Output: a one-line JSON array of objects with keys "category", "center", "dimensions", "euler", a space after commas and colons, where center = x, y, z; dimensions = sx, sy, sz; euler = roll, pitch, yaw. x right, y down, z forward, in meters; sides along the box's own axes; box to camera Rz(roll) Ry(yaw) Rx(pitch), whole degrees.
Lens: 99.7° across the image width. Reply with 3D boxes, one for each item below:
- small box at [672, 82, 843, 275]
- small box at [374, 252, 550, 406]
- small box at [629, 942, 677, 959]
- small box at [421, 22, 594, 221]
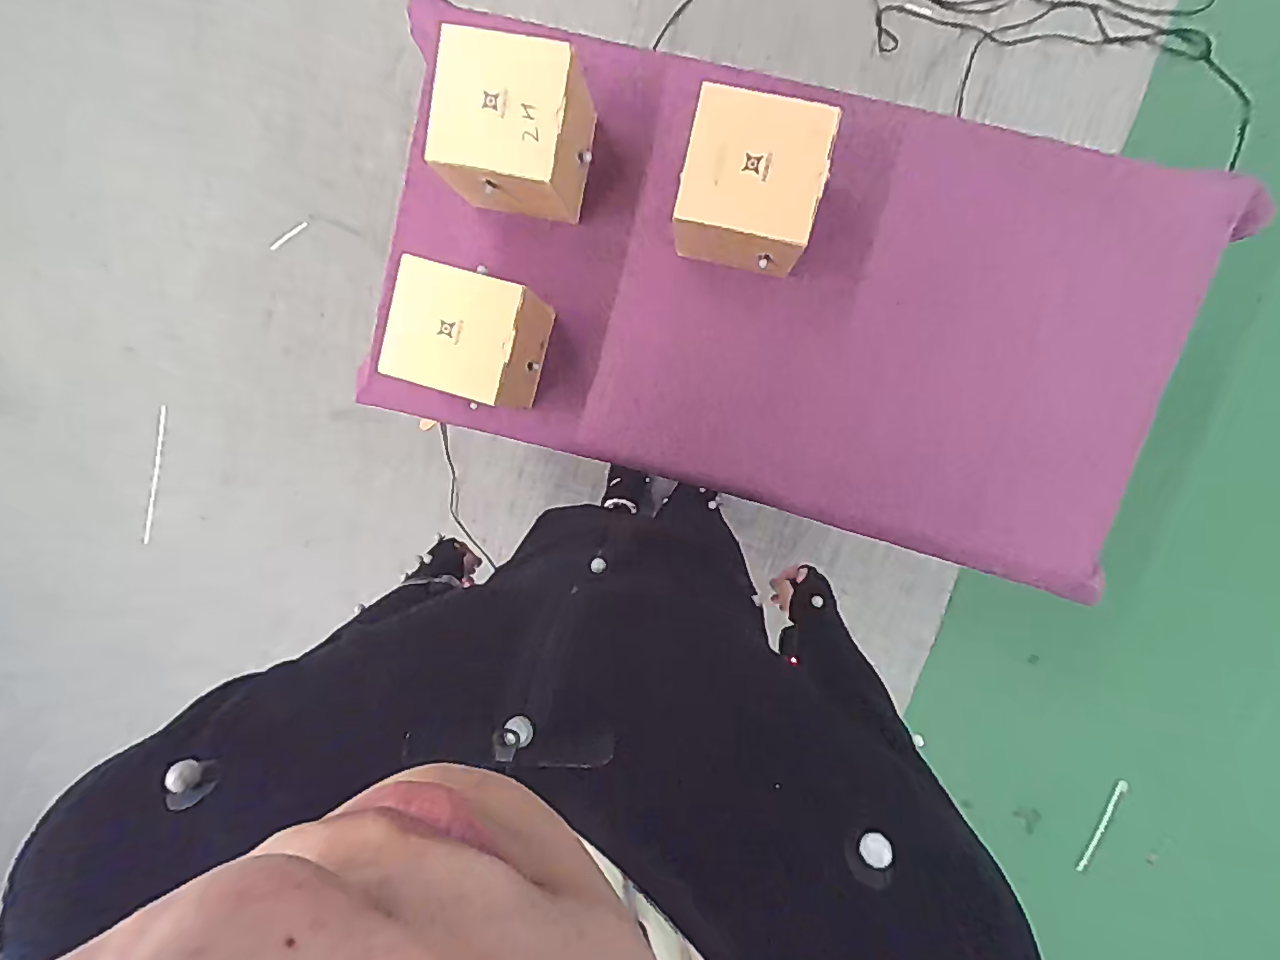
[{"category": "small box", "center": [0.151, -0.398, 0.746], "dimensions": [0.179, 0.176, 0.168], "euler": [15, 98, 4]}, {"category": "small box", "center": [-0.252, -0.210, 0.803], "dimensions": [0.179, 0.176, 0.168], "euler": [16, 97, 2]}, {"category": "small box", "center": [0.031, 1.647, 1.730], "dimensions": [0.168, 0.176, 0.179], "euler": [18, 98, 3]}, {"category": "small box", "center": [-0.176, -0.487, 0.762], "dimensions": [0.179, 0.176, 0.168], "euler": [13, 98, 3]}]
